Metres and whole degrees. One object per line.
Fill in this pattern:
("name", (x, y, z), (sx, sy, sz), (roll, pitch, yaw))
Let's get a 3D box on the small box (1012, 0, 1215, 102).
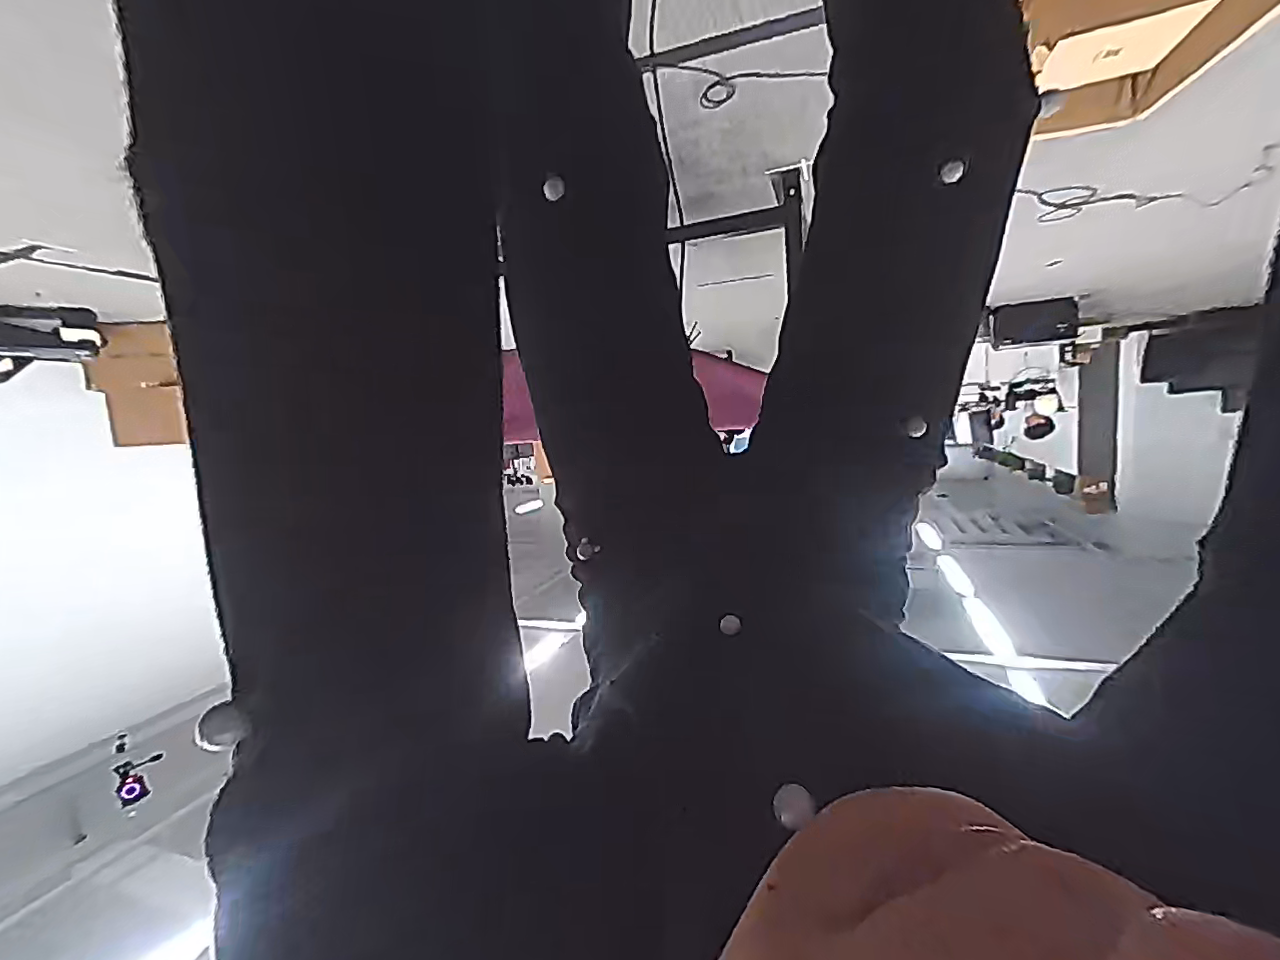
("small box", (0.653, -0.684, 0.763), (0.179, 0.176, 0.168), (-2, -172, 19))
